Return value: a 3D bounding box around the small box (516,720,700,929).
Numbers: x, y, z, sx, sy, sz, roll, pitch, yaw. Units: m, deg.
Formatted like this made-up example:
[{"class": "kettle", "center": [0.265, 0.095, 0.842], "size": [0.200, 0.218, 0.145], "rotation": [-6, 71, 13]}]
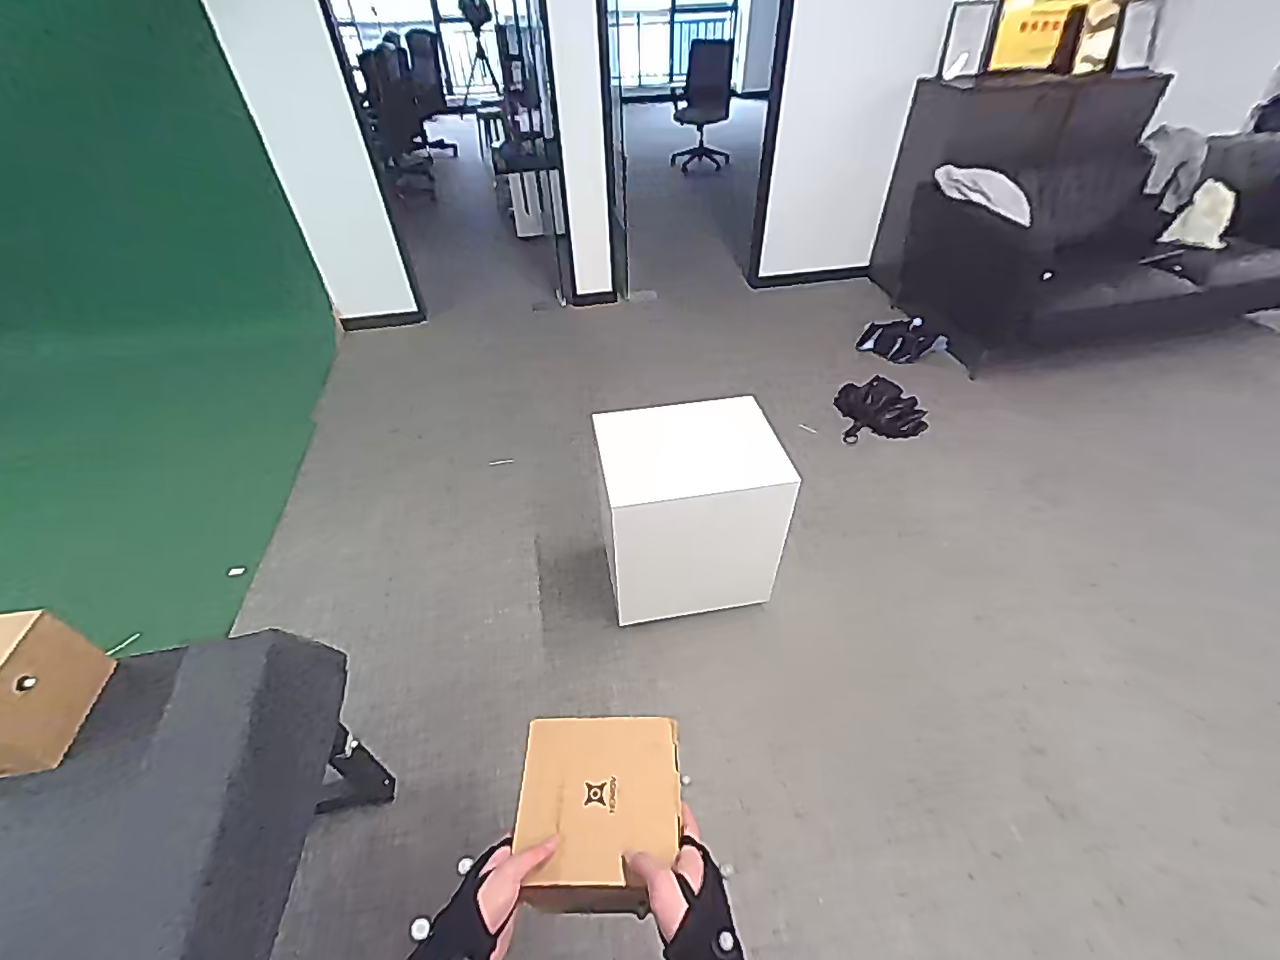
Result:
[{"class": "small box", "center": [-0.031, 0.393, 0.618], "size": [0.179, 0.176, 0.168], "rotation": [-3, 42, 0]}]
